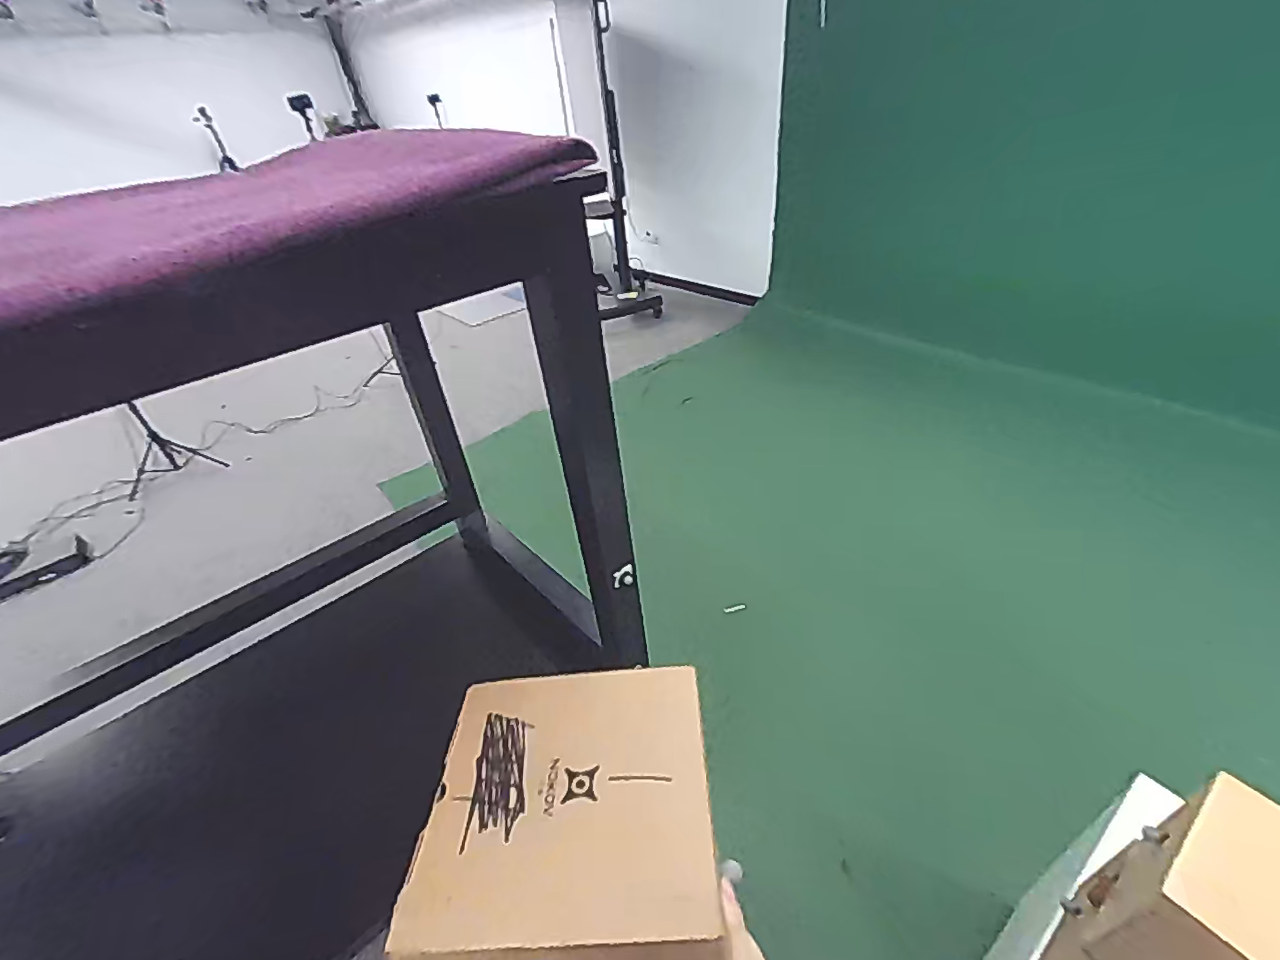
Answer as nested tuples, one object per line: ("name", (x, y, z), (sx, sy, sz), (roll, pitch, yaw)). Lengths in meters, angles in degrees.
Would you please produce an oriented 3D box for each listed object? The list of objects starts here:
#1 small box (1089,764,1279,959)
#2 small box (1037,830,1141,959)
("small box", (0.565, 0.413, 0.491), (0.168, 0.176, 0.179), (-28, 44, -26))
("small box", (0.577, 0.544, 0.589), (0.168, 0.176, 0.179), (-29, 43, -27))
